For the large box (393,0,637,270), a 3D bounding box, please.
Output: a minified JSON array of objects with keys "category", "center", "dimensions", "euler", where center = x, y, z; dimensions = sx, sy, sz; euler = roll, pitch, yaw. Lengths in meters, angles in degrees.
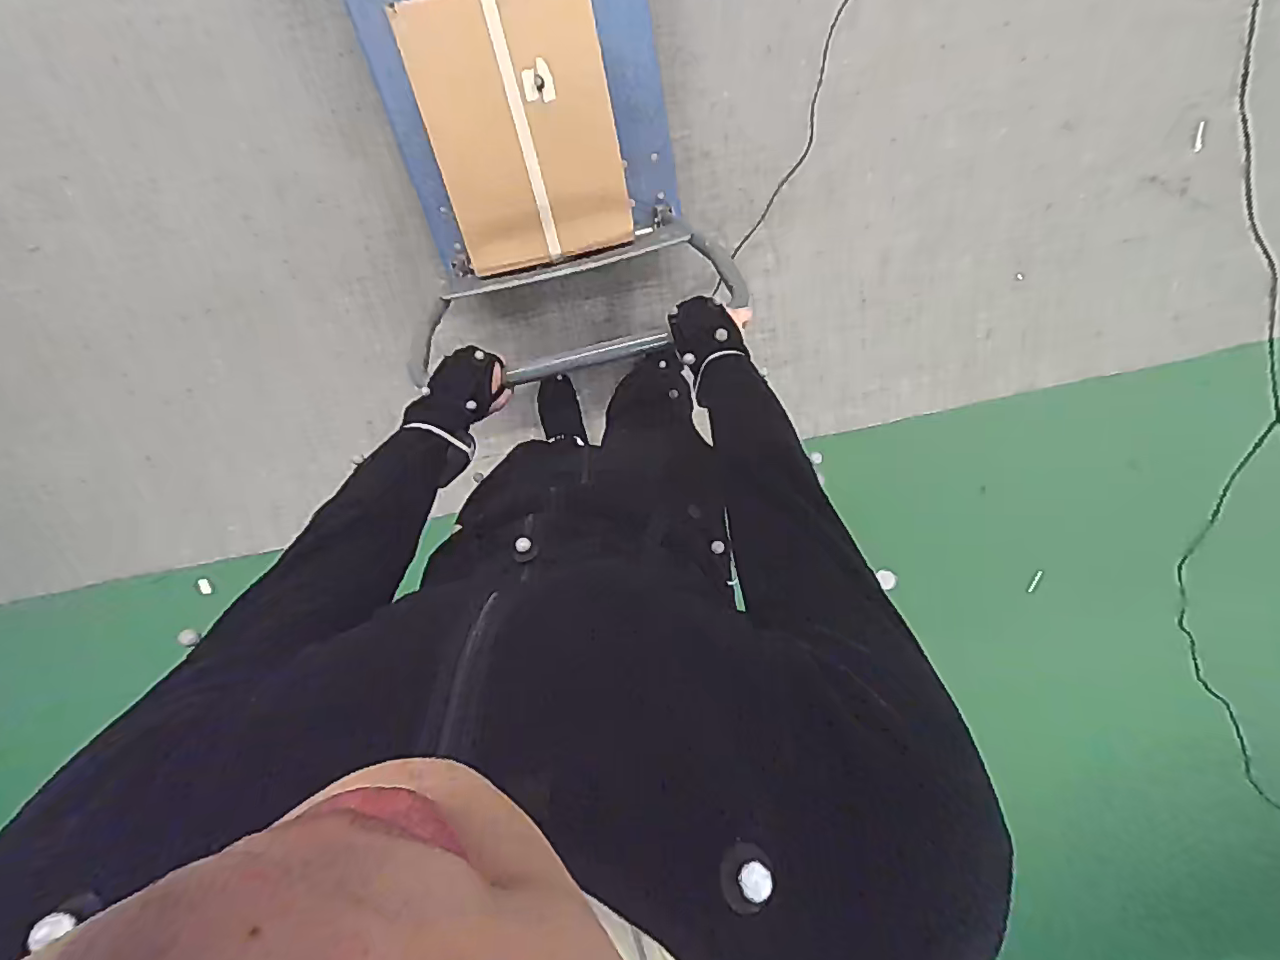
[{"category":"large box","center":[-0.210,-0.672,1.063],"dimensions":[0.320,0.320,0.408],"euler":[-14,119,0]}]
